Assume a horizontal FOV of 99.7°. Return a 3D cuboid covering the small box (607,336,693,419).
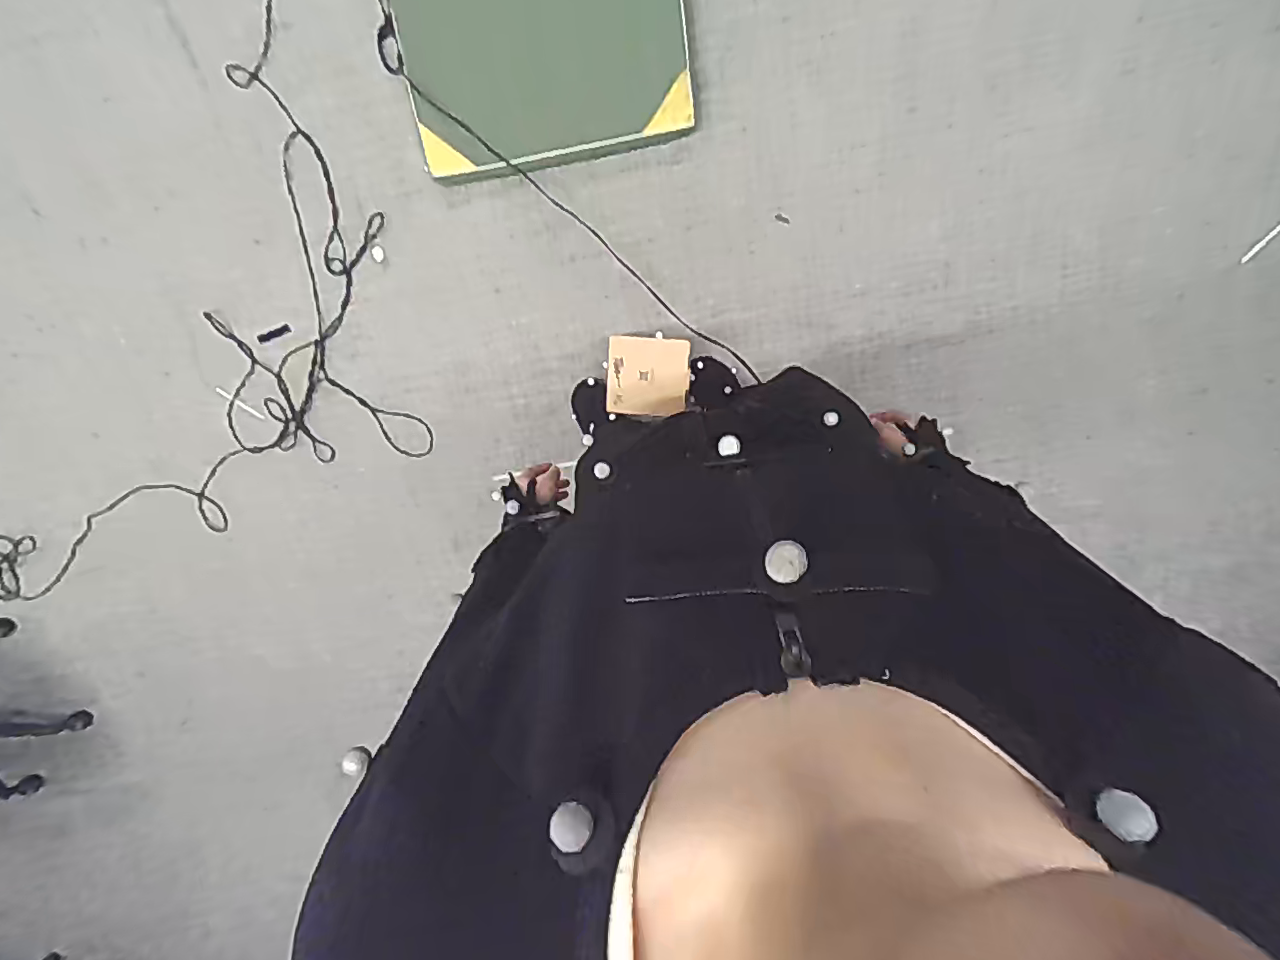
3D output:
[{"bbox_3d":[0.023,-0.239,1.234,0.179,0.176,0.168,4,104,3],"label":"small box"}]
